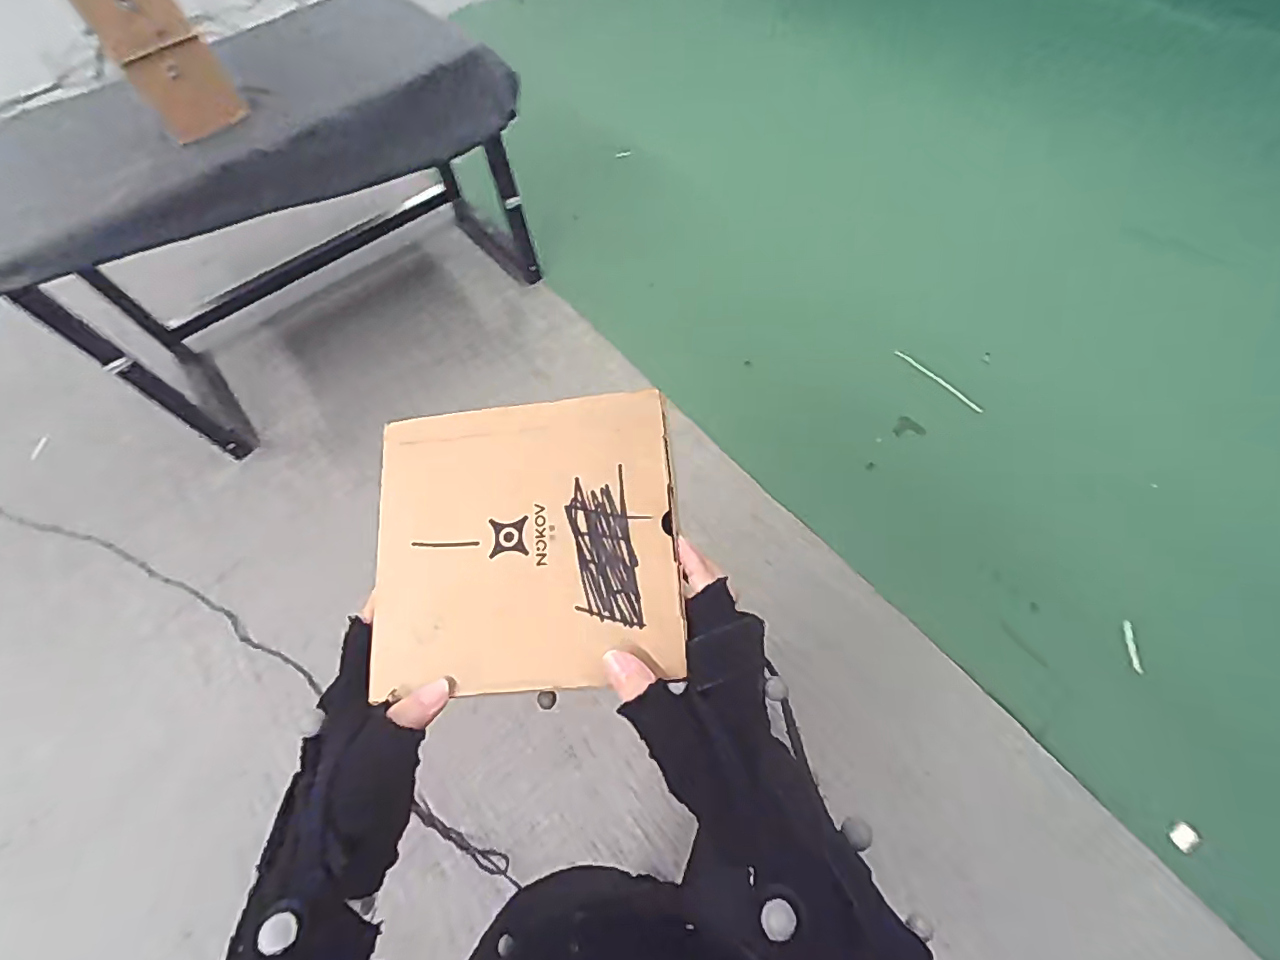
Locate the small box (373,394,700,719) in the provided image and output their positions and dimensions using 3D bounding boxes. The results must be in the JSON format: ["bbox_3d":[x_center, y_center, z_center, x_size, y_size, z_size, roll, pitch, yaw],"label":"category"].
[{"bbox_3d":[-0.060,0.058,0.381,0.179,0.176,0.168,-9,73,1],"label":"small box"}]

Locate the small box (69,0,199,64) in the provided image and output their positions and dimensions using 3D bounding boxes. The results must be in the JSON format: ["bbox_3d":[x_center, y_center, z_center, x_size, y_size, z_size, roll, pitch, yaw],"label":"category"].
[{"bbox_3d":[-1.028,-0.961,1.066,0.168,0.176,0.179,-38,66,-15],"label":"small box"}]

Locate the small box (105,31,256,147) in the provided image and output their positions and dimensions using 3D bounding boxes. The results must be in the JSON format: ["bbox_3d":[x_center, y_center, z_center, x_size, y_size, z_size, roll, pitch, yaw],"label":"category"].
[{"bbox_3d":[-1.020,-0.886,1.211,0.179,0.176,0.168,-37,66,-16],"label":"small box"}]
